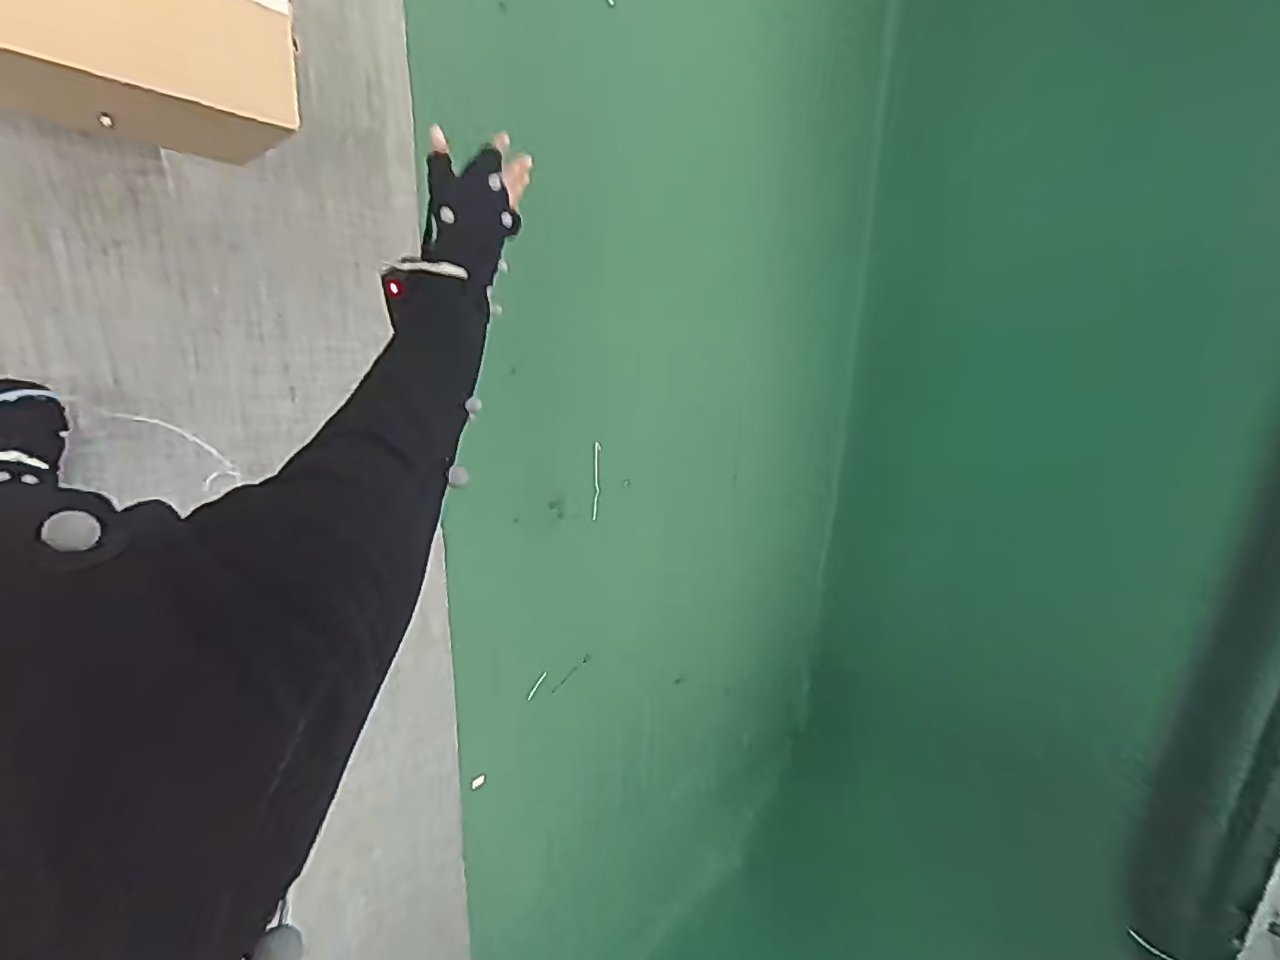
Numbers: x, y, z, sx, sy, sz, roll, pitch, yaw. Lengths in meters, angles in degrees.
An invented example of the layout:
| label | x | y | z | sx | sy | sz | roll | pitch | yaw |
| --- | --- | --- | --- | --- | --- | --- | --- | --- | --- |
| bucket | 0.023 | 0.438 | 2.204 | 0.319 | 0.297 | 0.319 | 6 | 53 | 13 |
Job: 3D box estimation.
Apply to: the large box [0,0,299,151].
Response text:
| label | x | y | z | sx | sy | sz | roll | pitch | yaw |
| --- | --- | --- | --- | --- | --- | --- | --- | --- | --- |
| large box | -0.756 | -0.693 | 0.742 | 0.408 | 0.320 | 0.320 | -13 | 111 | -47 |
